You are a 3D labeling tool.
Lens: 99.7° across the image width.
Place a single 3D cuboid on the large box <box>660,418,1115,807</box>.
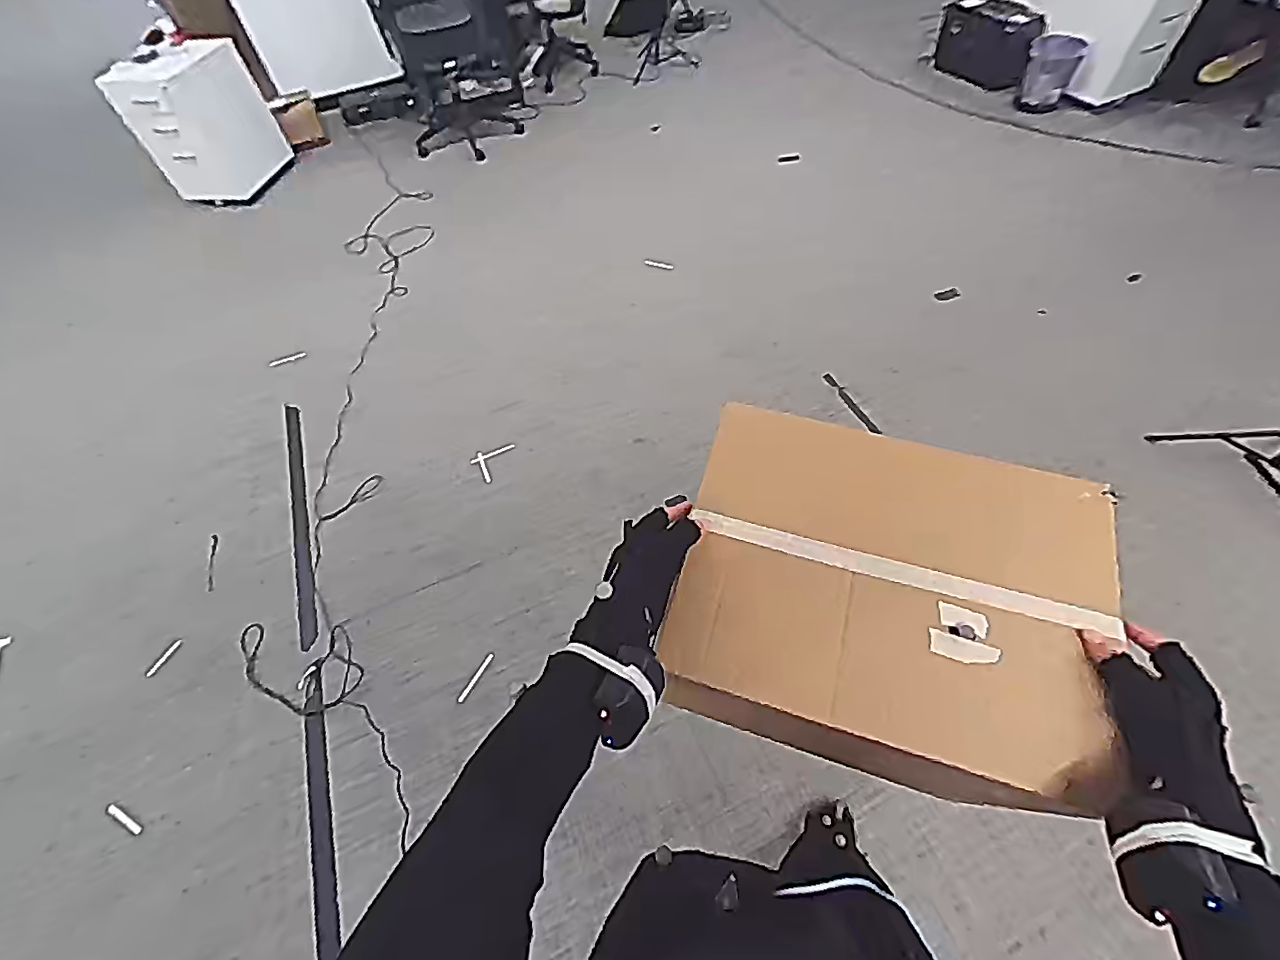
[{"bbox_3d":[0.256,0.168,0.679,0.408,0.320,0.320,15,65,11],"label":"large box"}]
